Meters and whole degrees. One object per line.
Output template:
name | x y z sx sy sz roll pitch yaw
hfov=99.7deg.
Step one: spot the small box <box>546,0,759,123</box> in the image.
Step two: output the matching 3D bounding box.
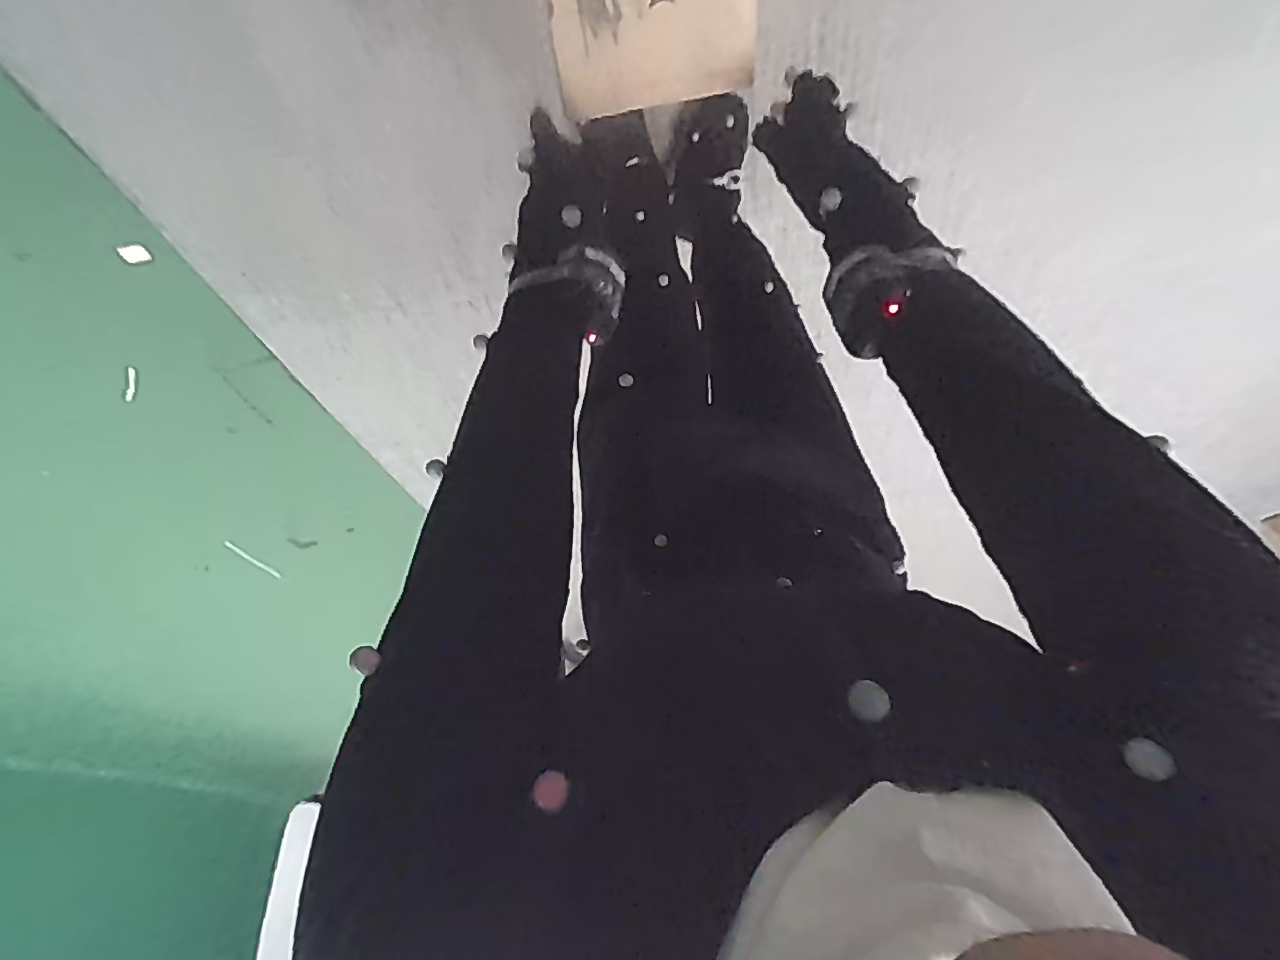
small box | 0.004 -0.456 0.487 0.179 0.176 0.168 -9 143 2
